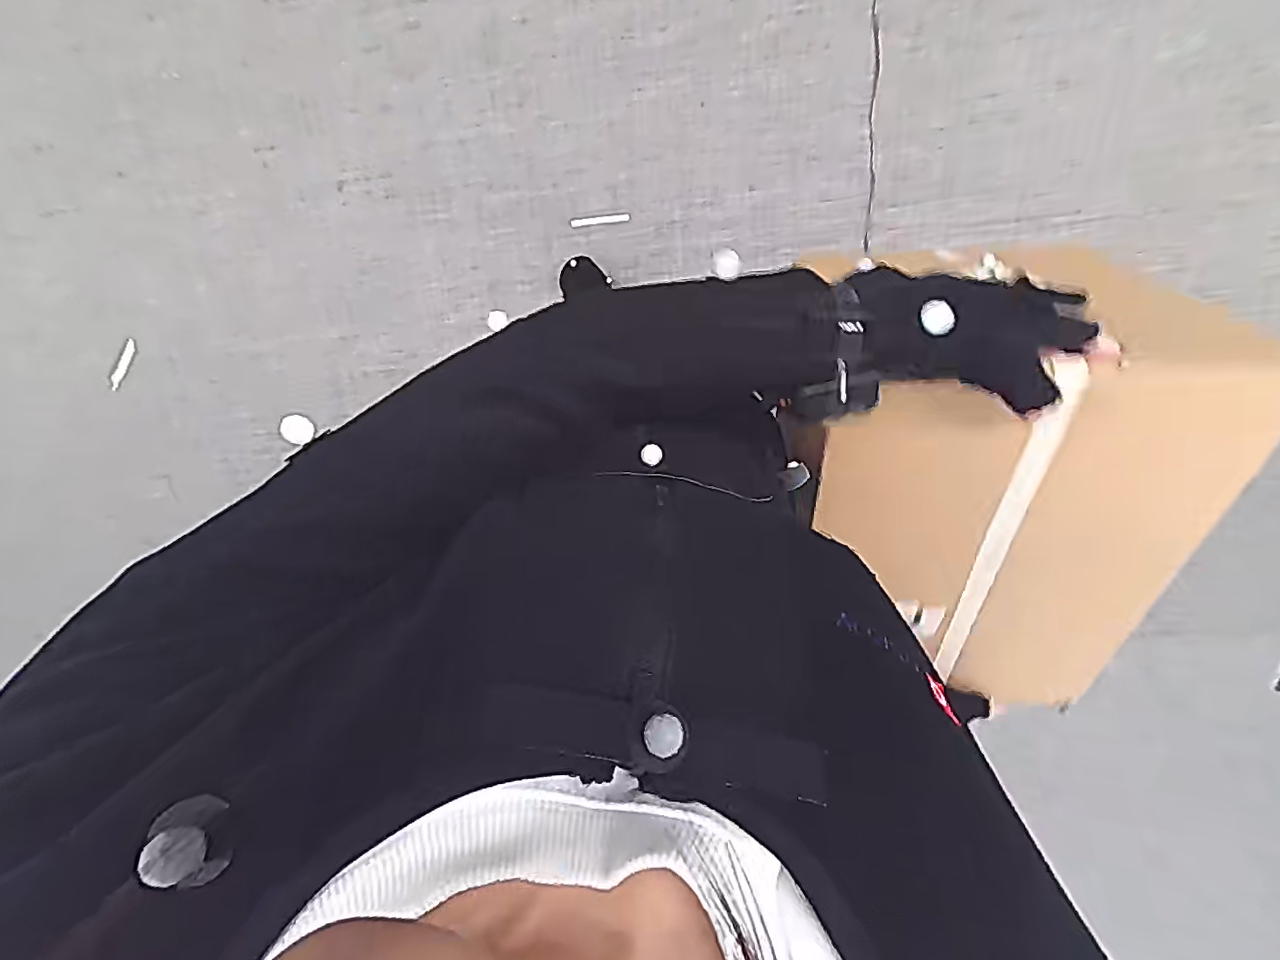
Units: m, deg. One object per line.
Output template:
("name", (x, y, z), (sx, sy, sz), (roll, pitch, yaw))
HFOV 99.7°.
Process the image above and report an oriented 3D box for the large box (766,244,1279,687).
("large box", (0.325, -0.017, 0.622), (0.320, 0.320, 0.408), (2, 129, 7))
